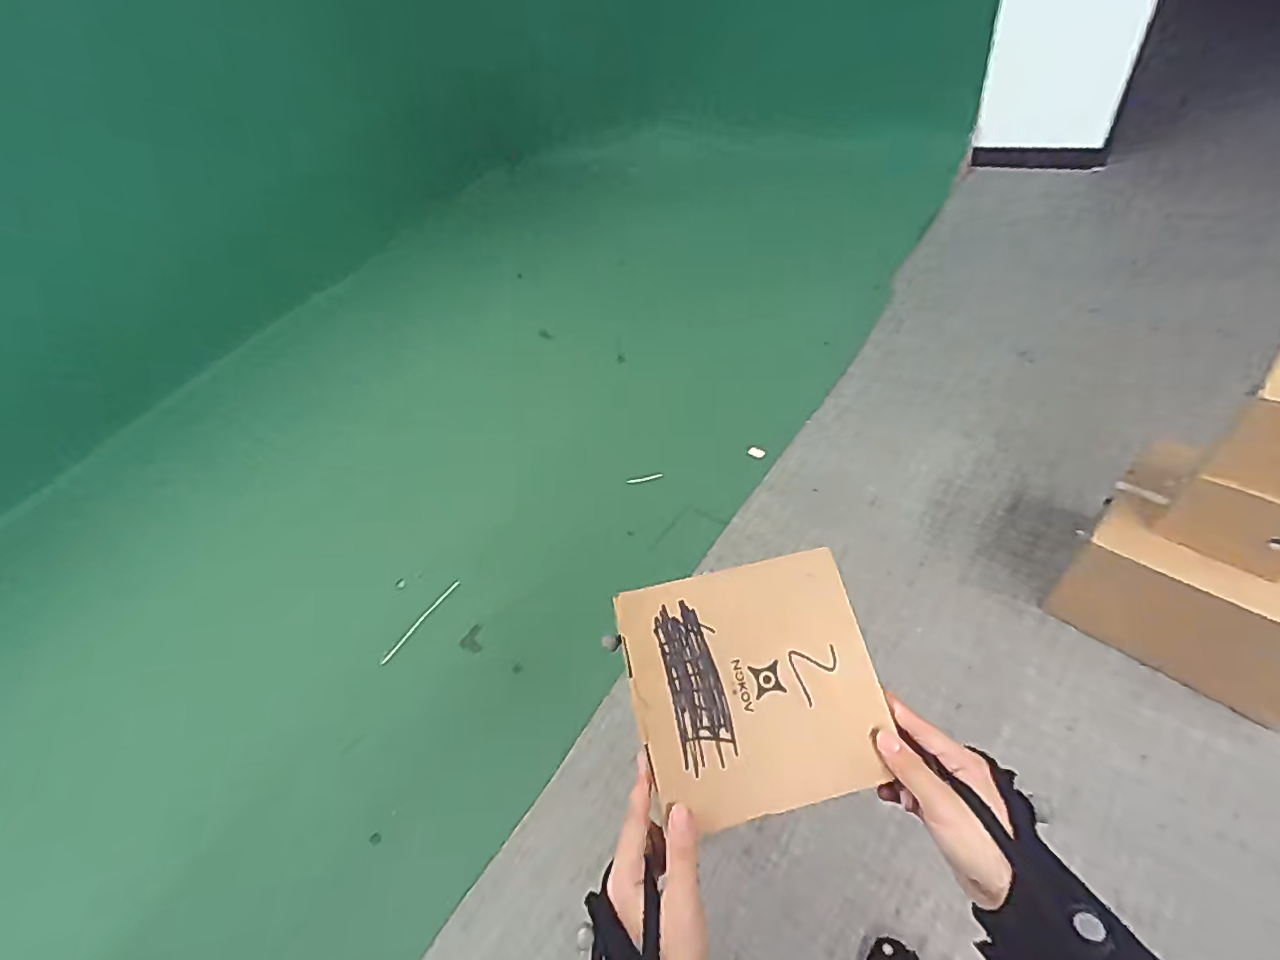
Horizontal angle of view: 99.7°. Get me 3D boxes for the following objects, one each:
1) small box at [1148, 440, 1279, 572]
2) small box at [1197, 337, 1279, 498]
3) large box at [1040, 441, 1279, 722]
[{"bbox_3d":[1.023,0.030,0.908,0.168,0.176,0.179,-43,51,-19],"label":"small box"},{"bbox_3d":[0.988,-0.082,0.794,0.179,0.176,0.168,32,66,35],"label":"small box"},{"bbox_3d":[1.117,0.190,1.069,0.408,0.320,0.320,32,69,34],"label":"large box"}]
